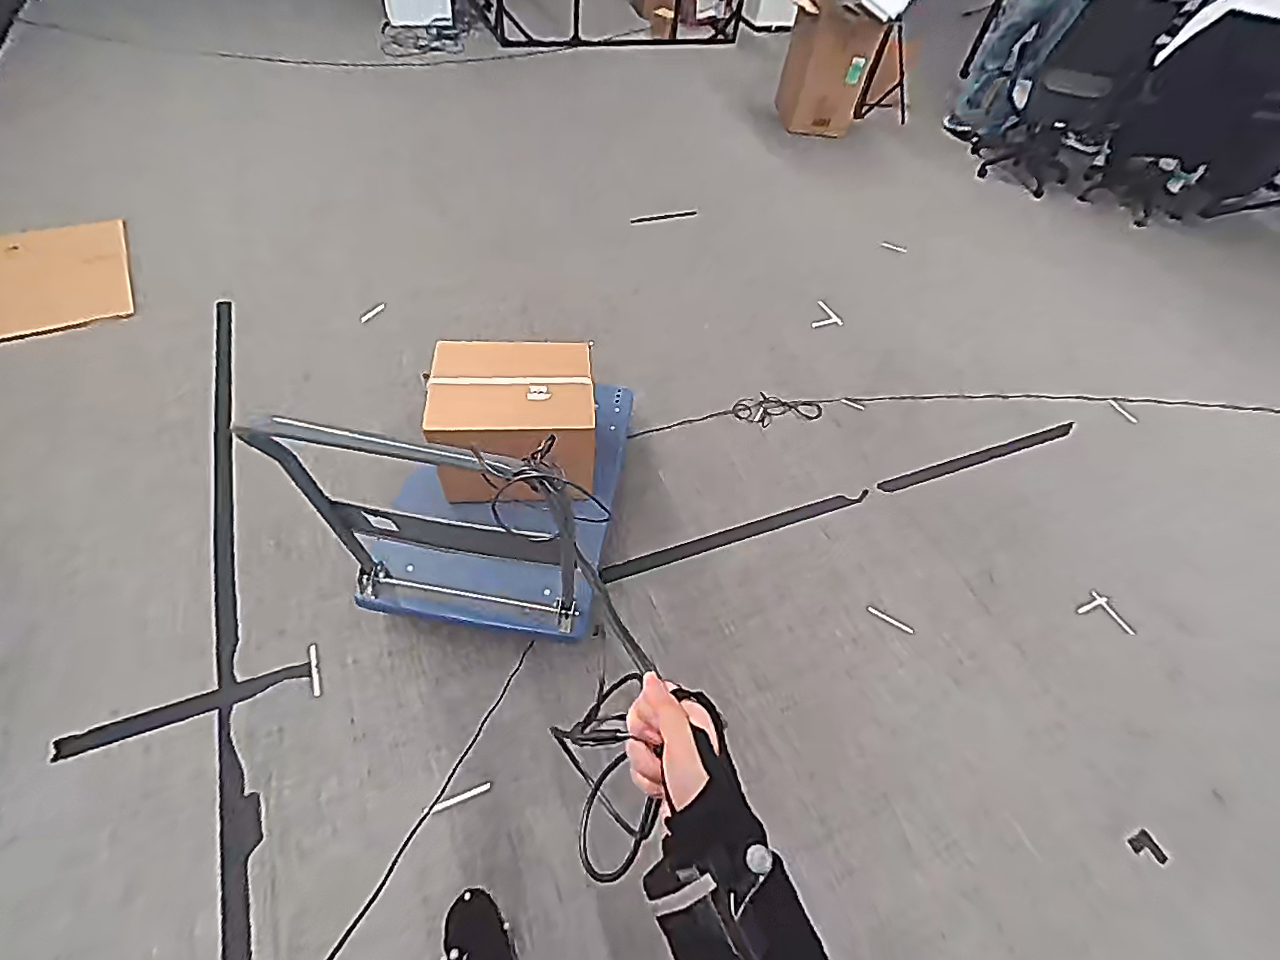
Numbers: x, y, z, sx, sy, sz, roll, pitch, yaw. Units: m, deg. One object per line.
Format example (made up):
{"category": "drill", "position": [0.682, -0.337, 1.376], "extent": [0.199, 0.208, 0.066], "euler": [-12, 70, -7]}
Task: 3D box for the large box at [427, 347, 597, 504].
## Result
{"category": "large box", "position": [-0.335, -0.147, 1.484], "extent": [0.408, 0.320, 0.320], "euler": [-1, 55, -9]}
